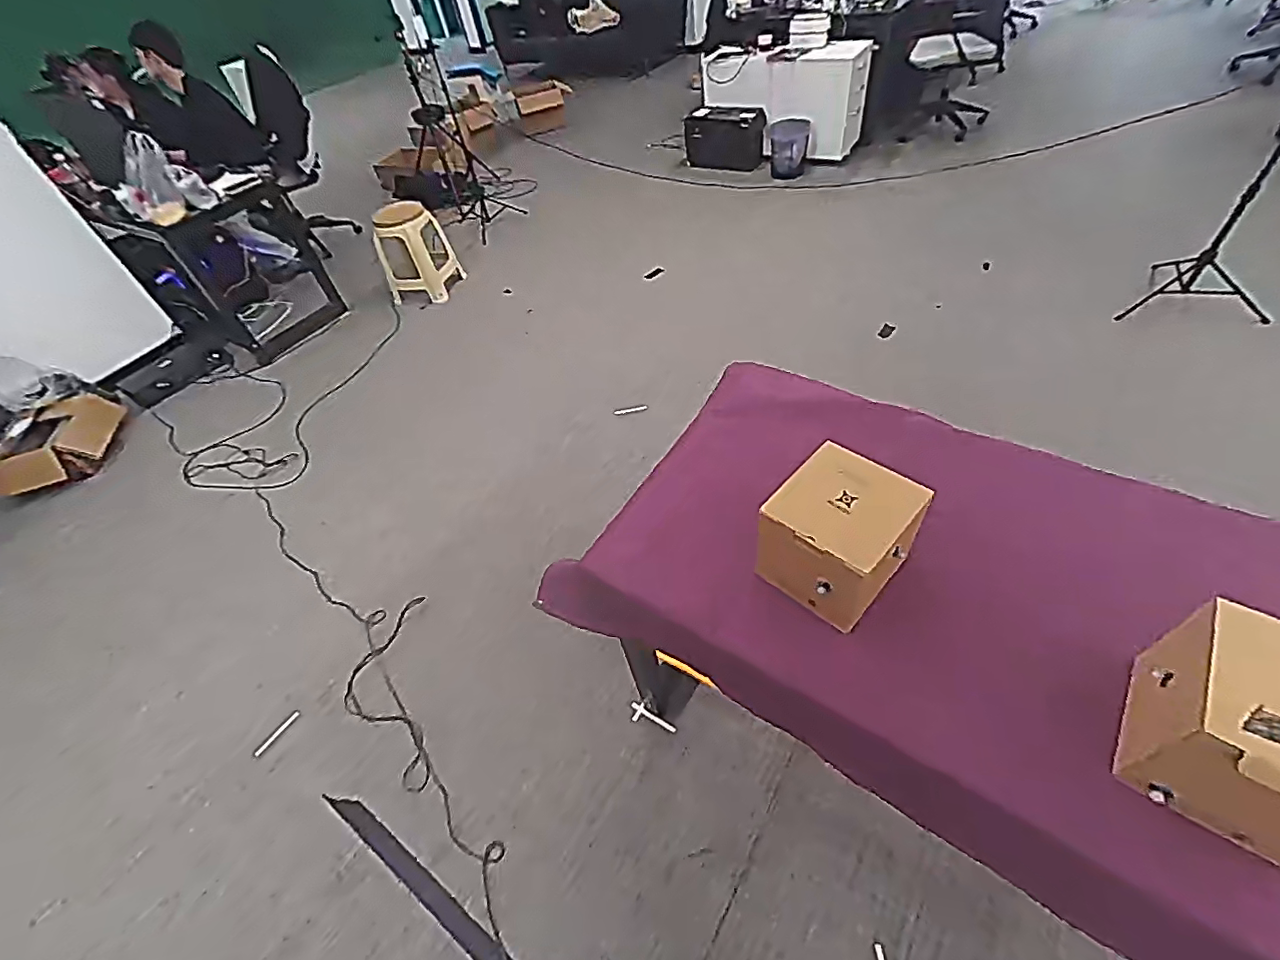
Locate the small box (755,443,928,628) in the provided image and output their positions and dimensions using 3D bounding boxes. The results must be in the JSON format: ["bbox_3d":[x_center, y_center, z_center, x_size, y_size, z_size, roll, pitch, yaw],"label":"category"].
[{"bbox_3d":[0.288,0.084,0.802,0.179,0.176,0.168,-40,55,-24],"label":"small box"}]

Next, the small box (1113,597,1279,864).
[{"bbox_3d":[0.649,0.267,0.573,0.168,0.176,0.179,26,56,29],"label":"small box"}]
